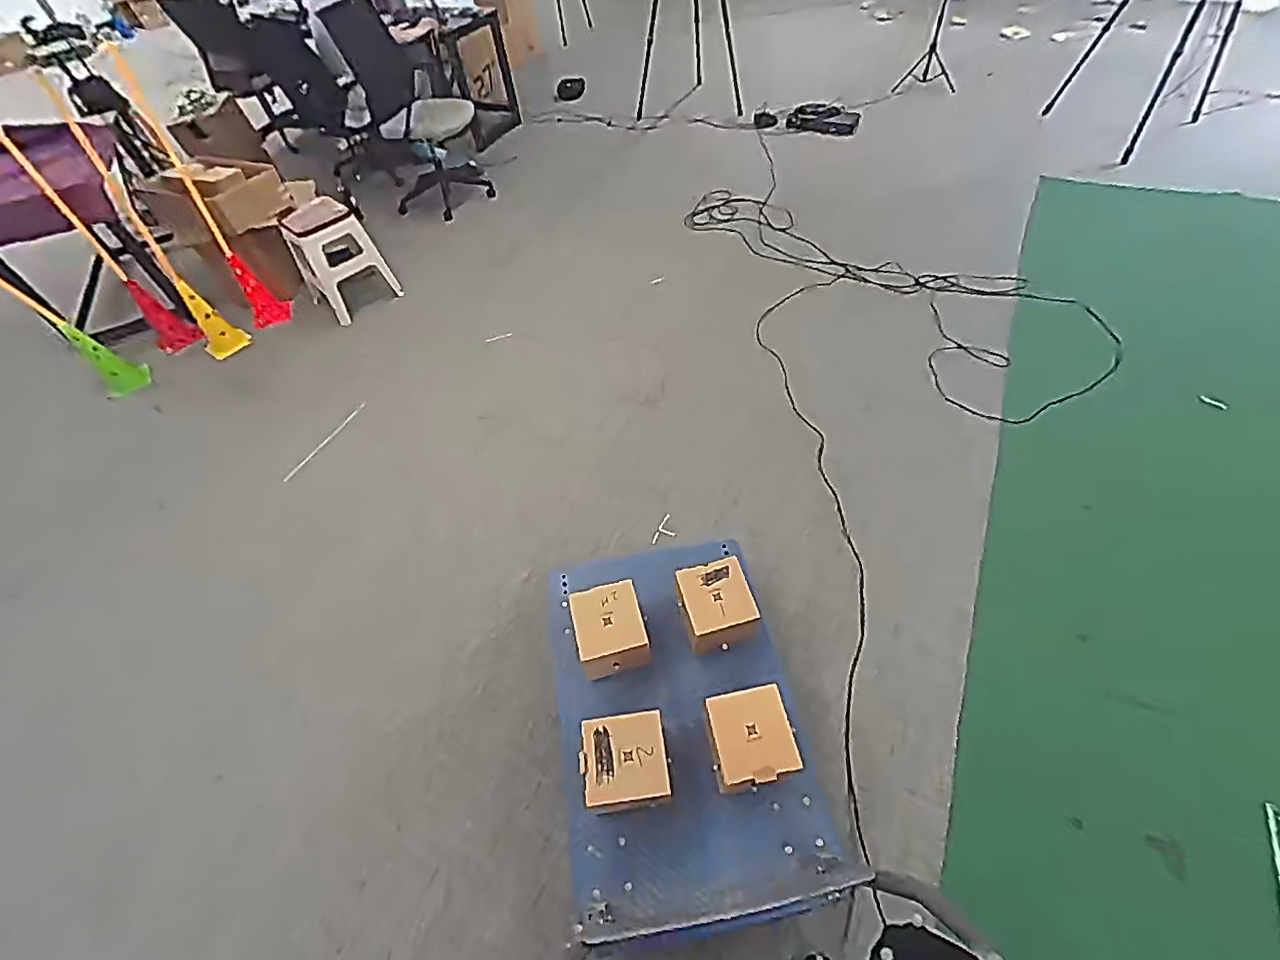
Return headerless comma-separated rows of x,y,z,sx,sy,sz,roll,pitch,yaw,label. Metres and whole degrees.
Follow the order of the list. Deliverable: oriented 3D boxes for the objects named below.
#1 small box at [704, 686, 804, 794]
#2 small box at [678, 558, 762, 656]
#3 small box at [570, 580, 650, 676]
0.245,0.585,1.213,0.168,0.176,0.179,-10,55,-4,small box
0.197,0.330,1.396,0.168,0.176,0.179,-13,55,-6,small box
-0.073,0.383,1.375,0.168,0.176,0.179,-13,55,-7,small box
